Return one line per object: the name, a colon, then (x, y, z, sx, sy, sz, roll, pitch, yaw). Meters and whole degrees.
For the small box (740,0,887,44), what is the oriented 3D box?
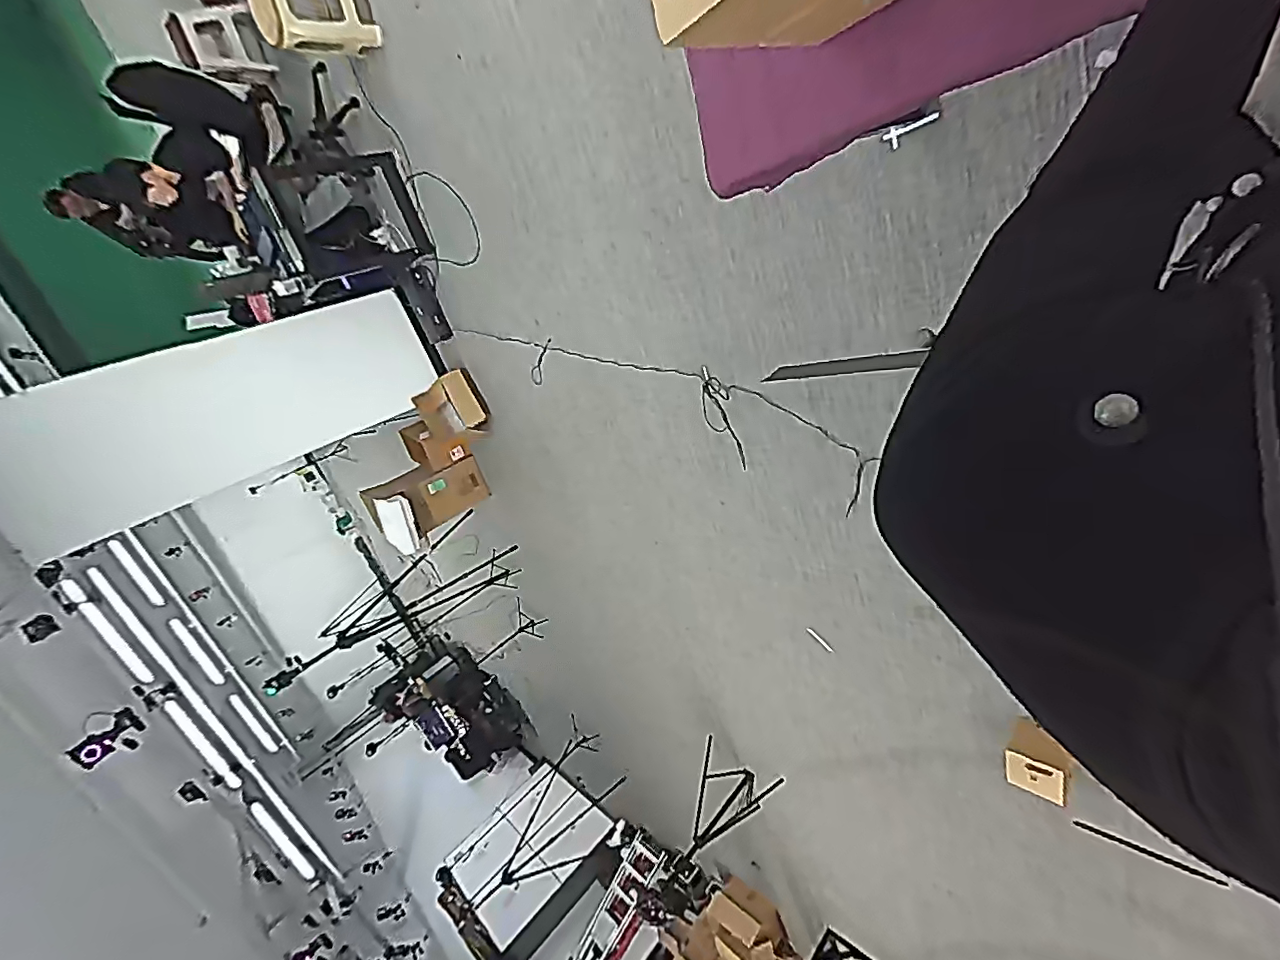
small box: (0.225, -0.650, 0.631, 0.179, 0.176, 0.168, 7, 123, 48)

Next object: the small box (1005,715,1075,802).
small box: (1.397, 0.963, 1.888, 0.168, 0.176, 0.179, 9, 126, 48)
